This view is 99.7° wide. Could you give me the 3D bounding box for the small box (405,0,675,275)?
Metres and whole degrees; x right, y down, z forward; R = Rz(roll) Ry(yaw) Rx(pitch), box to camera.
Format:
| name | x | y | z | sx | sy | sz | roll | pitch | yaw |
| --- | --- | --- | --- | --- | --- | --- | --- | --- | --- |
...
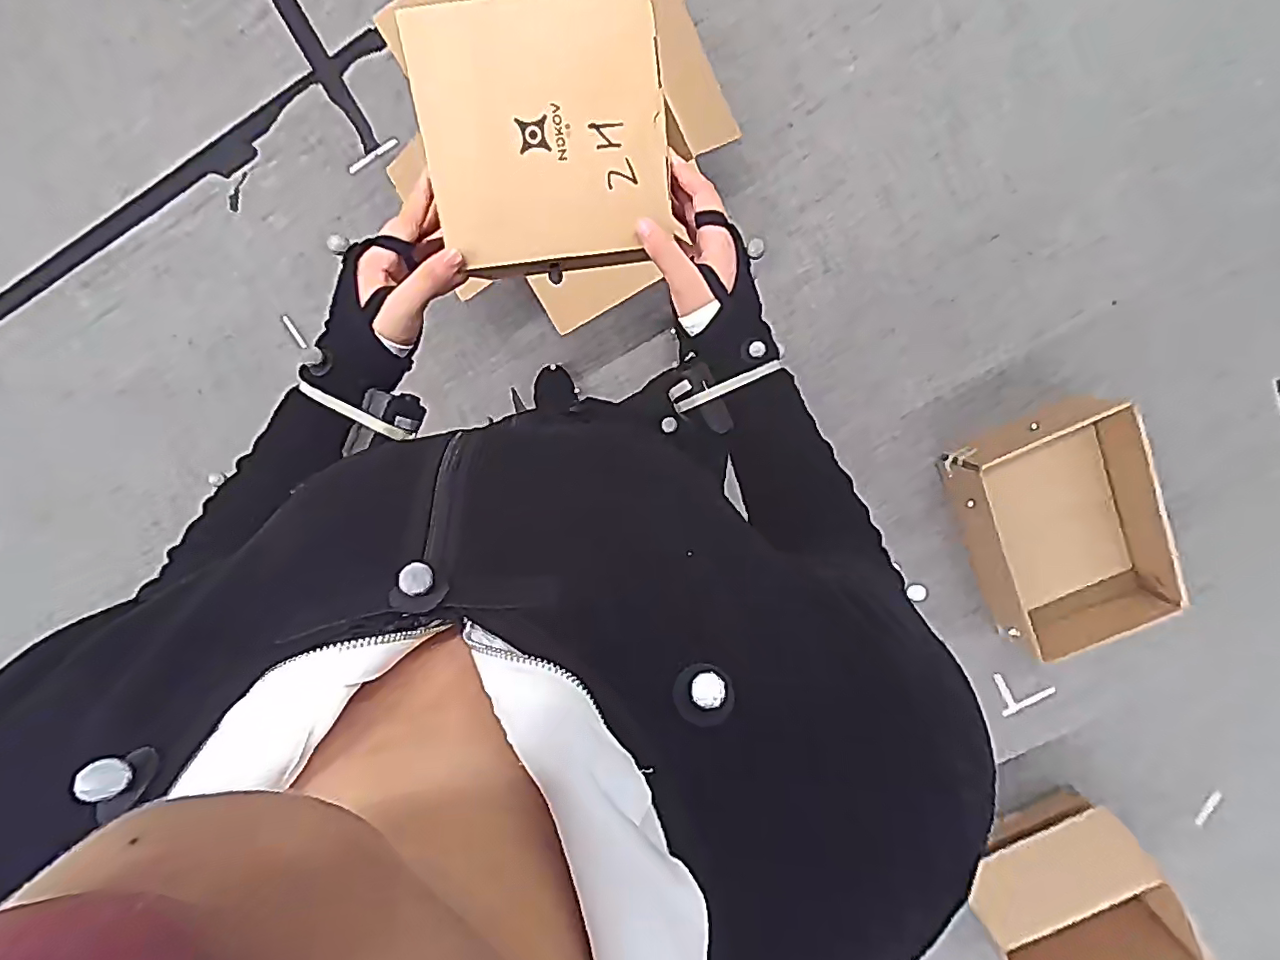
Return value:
| name | x | y | z | sx | sy | sz | roll | pitch | yaw |
| --- | --- | --- | --- | --- | --- | --- | --- | --- | --- |
| small box | -0.073 | -0.277 | 0.471 | 0.179 | 0.176 | 0.168 | -8 | 109 | -3 |
